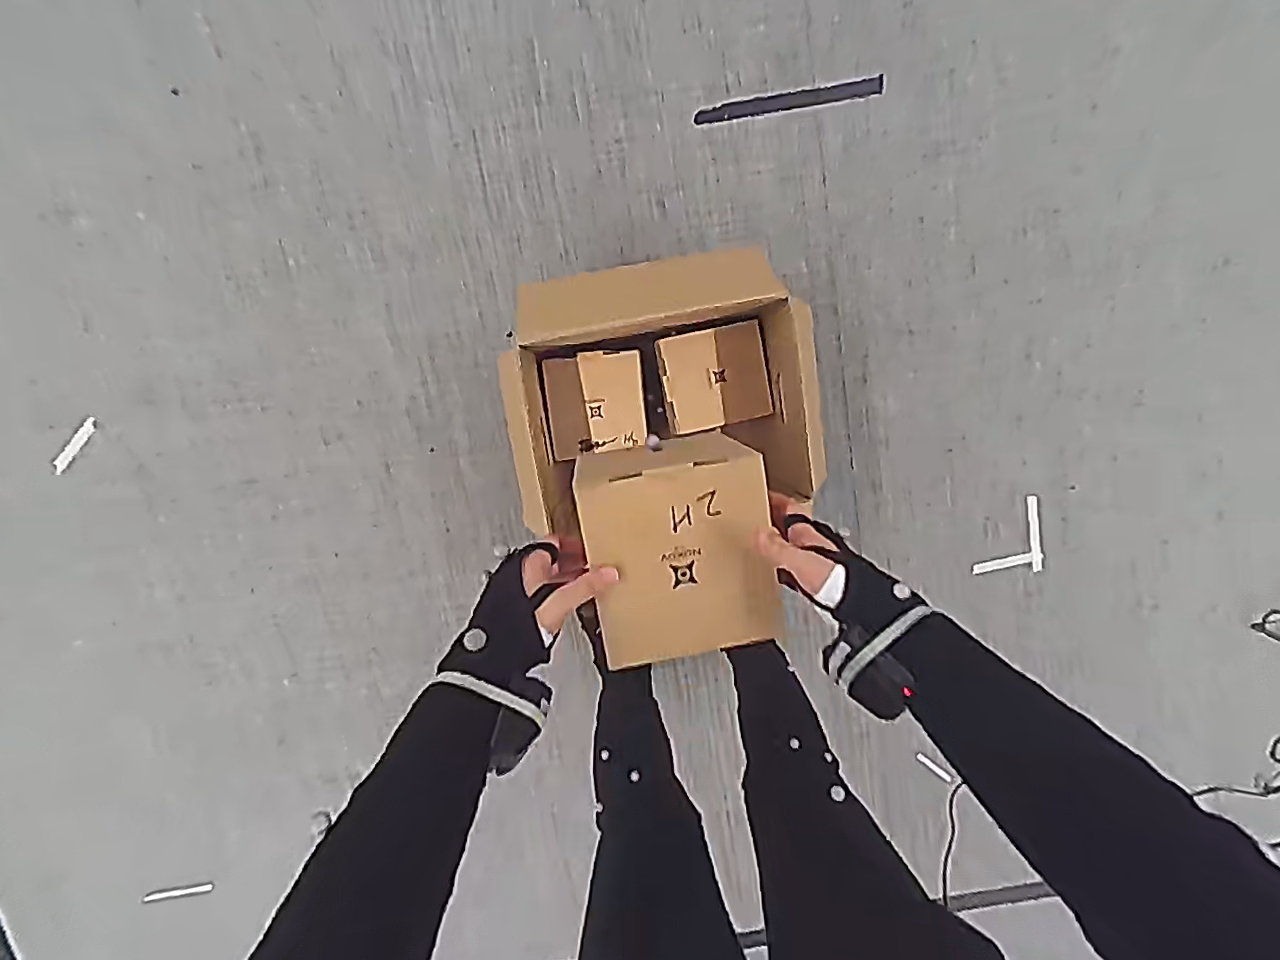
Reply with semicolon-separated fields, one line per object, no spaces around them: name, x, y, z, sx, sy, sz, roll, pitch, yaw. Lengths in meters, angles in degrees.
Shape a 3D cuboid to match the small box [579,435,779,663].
small box;0.033;0.059;0.572;0.168;0.176;0.179;-11;102;-4
